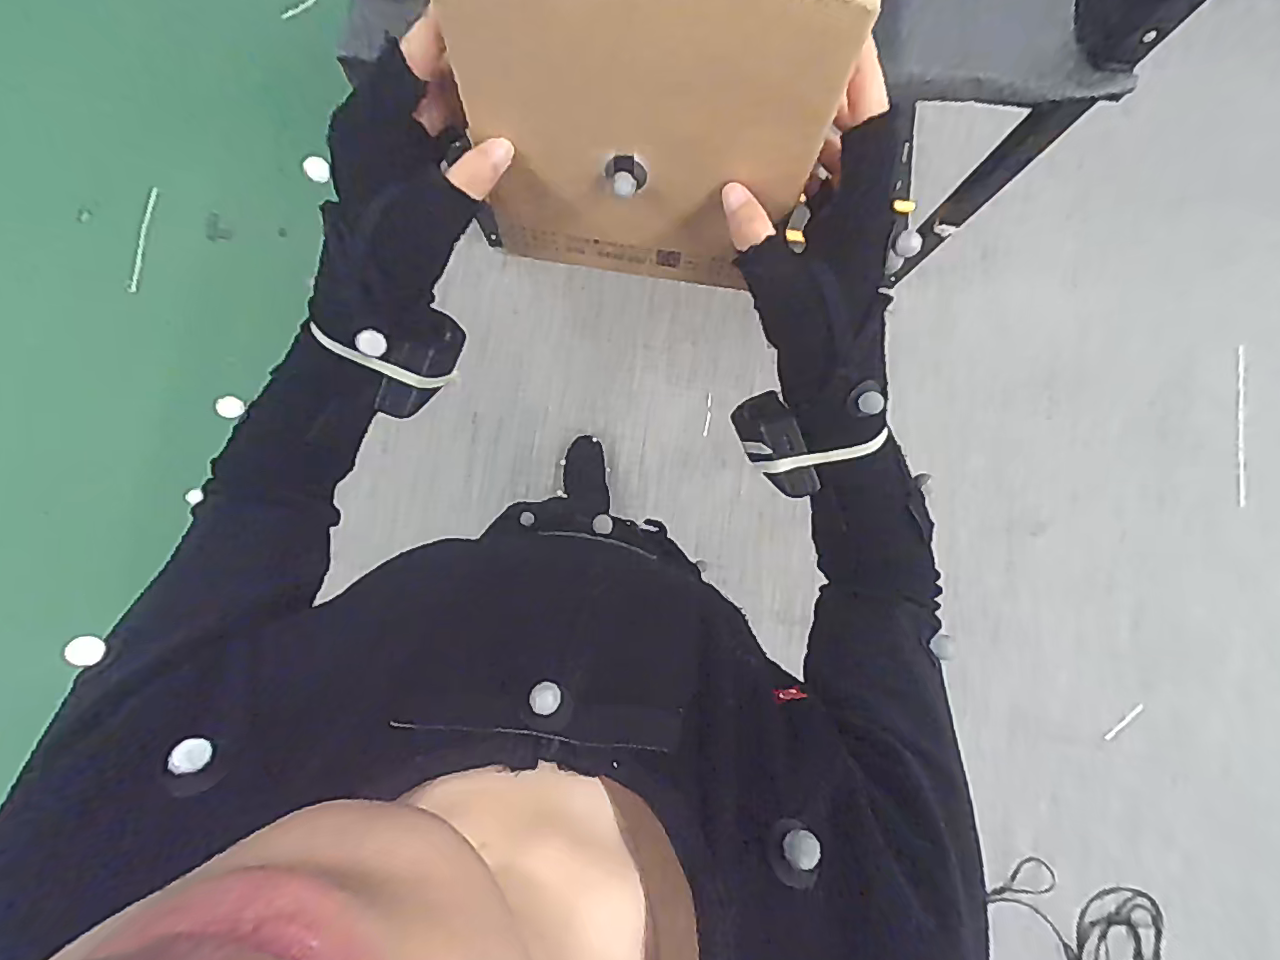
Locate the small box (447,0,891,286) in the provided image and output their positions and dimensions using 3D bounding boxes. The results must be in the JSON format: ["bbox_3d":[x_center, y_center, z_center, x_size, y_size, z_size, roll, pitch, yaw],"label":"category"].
[{"bbox_3d":[0.017,-0.232,0.288,0.168,0.176,0.179,9,74,-1],"label":"small box"}]
